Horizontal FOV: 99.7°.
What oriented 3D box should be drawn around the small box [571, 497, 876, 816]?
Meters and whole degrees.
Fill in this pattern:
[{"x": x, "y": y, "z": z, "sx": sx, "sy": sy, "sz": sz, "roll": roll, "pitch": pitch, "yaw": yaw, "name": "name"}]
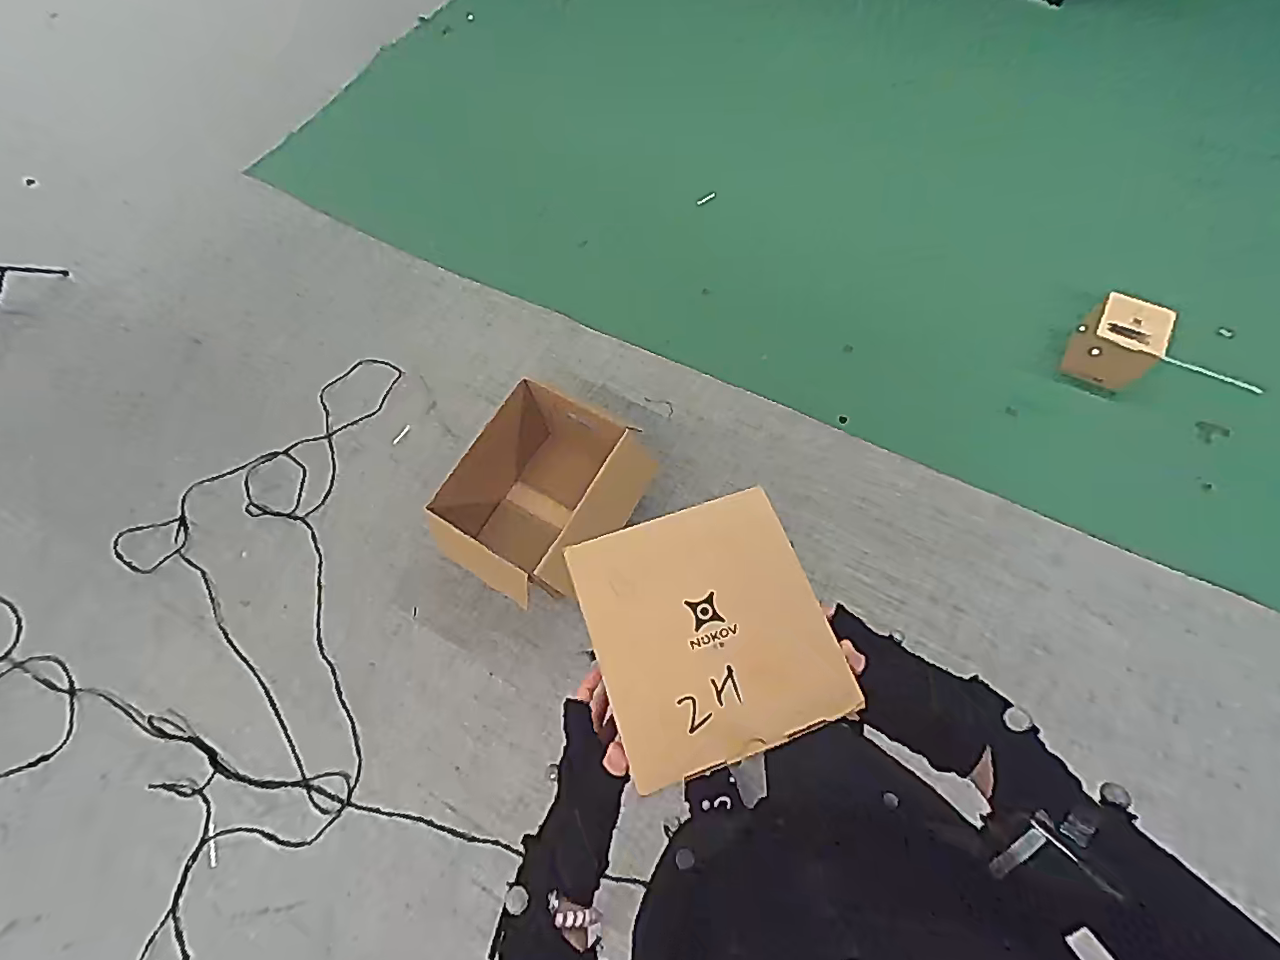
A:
[{"x": 0.049, "y": 0.142, "z": 0.445, "sx": 0.168, "sy": 0.176, "sz": 0.179, "roll": -18, "pitch": 68, "yaw": -8, "name": "small box"}]
